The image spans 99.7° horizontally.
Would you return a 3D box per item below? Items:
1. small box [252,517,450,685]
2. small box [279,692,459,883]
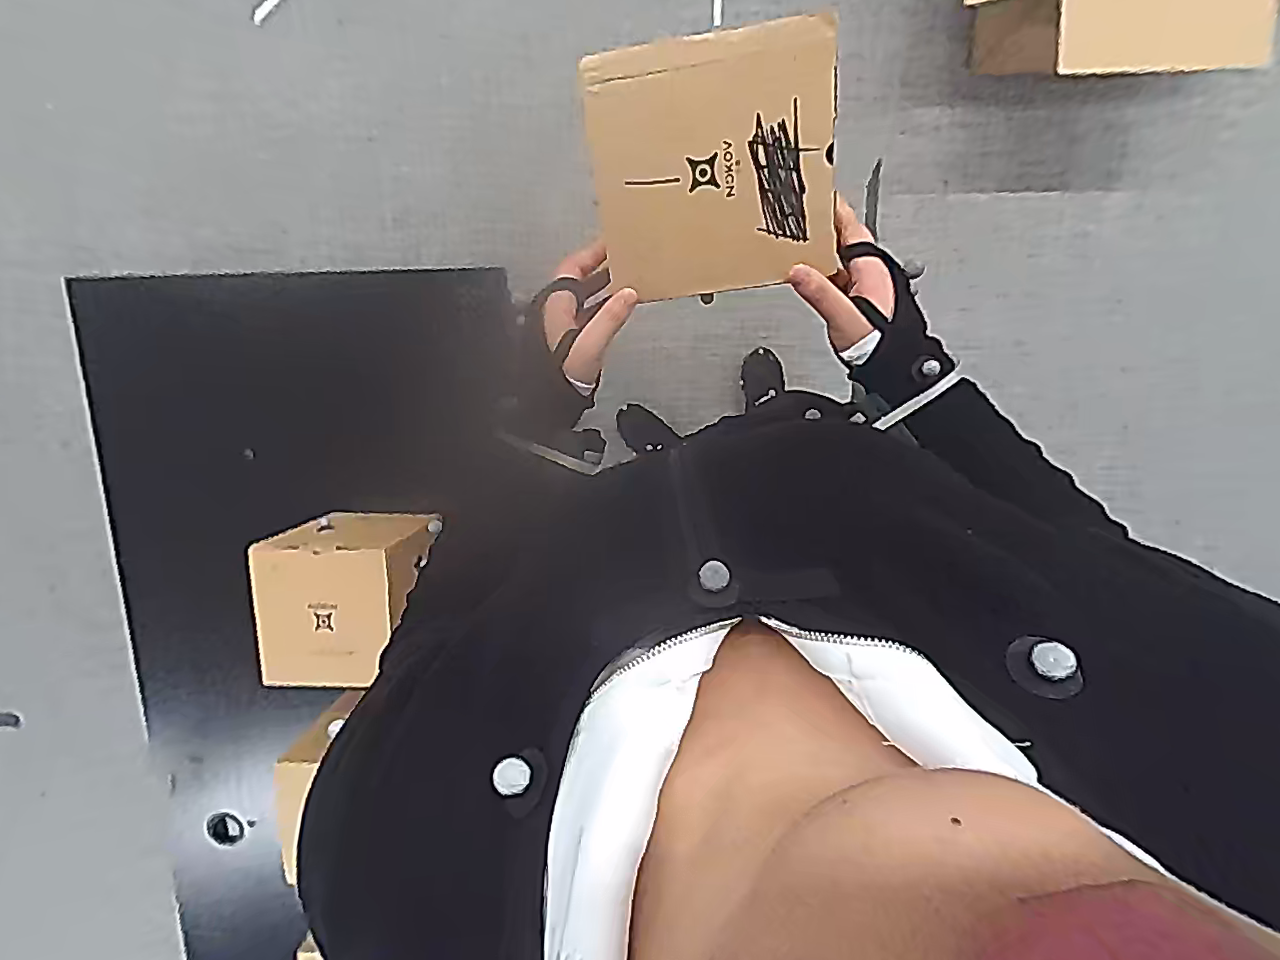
[{"bbox_3d":[-0.367,0.149,0.719,0.168,0.176,0.179,0,101,3],"label":"small box"},{"bbox_3d":[-0.367,0.419,0.762,0.168,0.176,0.179,1,100,2],"label":"small box"}]
